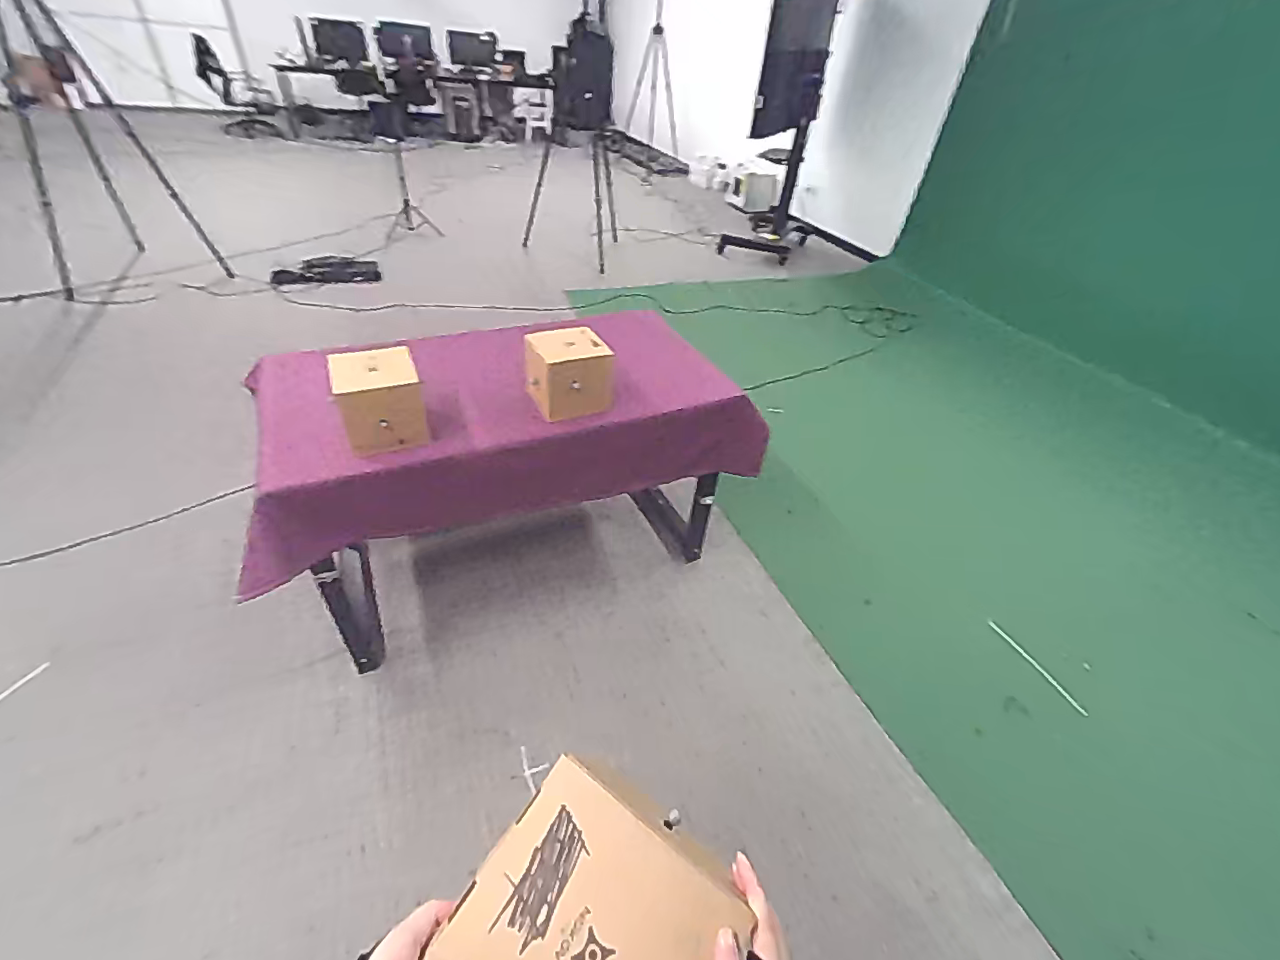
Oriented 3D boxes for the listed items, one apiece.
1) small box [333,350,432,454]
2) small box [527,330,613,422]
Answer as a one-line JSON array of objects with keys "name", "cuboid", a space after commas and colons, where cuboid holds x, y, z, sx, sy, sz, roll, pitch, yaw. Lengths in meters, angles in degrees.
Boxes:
[{"name": "small box", "cuboid": [-0.583, -0.173, 1.233, 0.168, 0.176, 0.179, -14, 43, -23]}, {"name": "small box", "cuboid": [-0.180, -0.268, 1.401, 0.179, 0.176, 0.168, -15, 45, -23]}]
